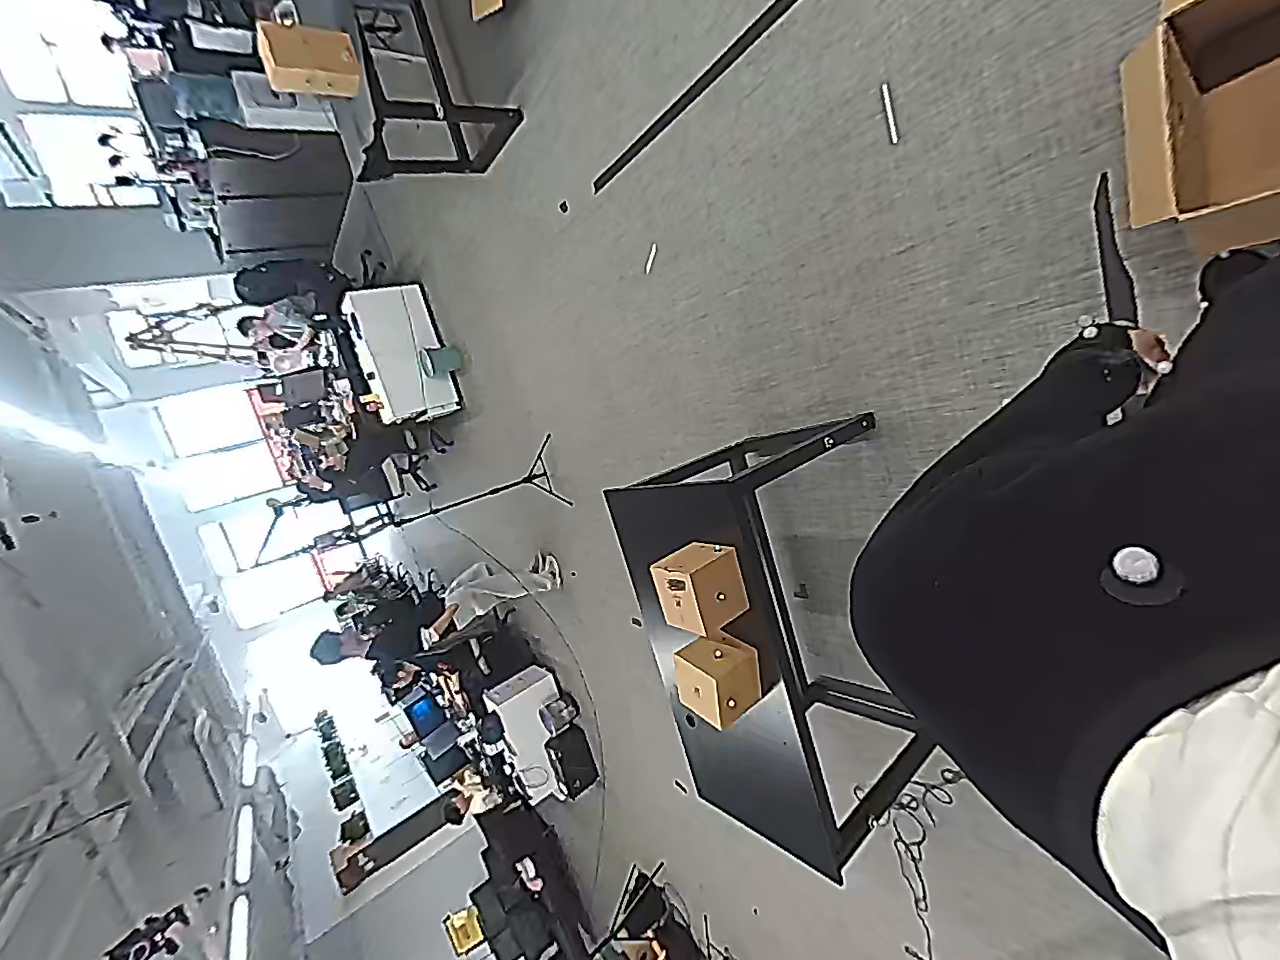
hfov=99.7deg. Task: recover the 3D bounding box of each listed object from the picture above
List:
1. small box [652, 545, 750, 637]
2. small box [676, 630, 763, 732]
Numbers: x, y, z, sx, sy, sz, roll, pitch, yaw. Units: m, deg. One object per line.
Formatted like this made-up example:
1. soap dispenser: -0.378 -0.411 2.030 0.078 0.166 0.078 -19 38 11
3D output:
1. small box: 0.165 0.284 1.435 0.168 0.176 0.179 -1 109 55
2. small box: 0.225 0.548 1.508 0.168 0.176 0.179 16 122 51
